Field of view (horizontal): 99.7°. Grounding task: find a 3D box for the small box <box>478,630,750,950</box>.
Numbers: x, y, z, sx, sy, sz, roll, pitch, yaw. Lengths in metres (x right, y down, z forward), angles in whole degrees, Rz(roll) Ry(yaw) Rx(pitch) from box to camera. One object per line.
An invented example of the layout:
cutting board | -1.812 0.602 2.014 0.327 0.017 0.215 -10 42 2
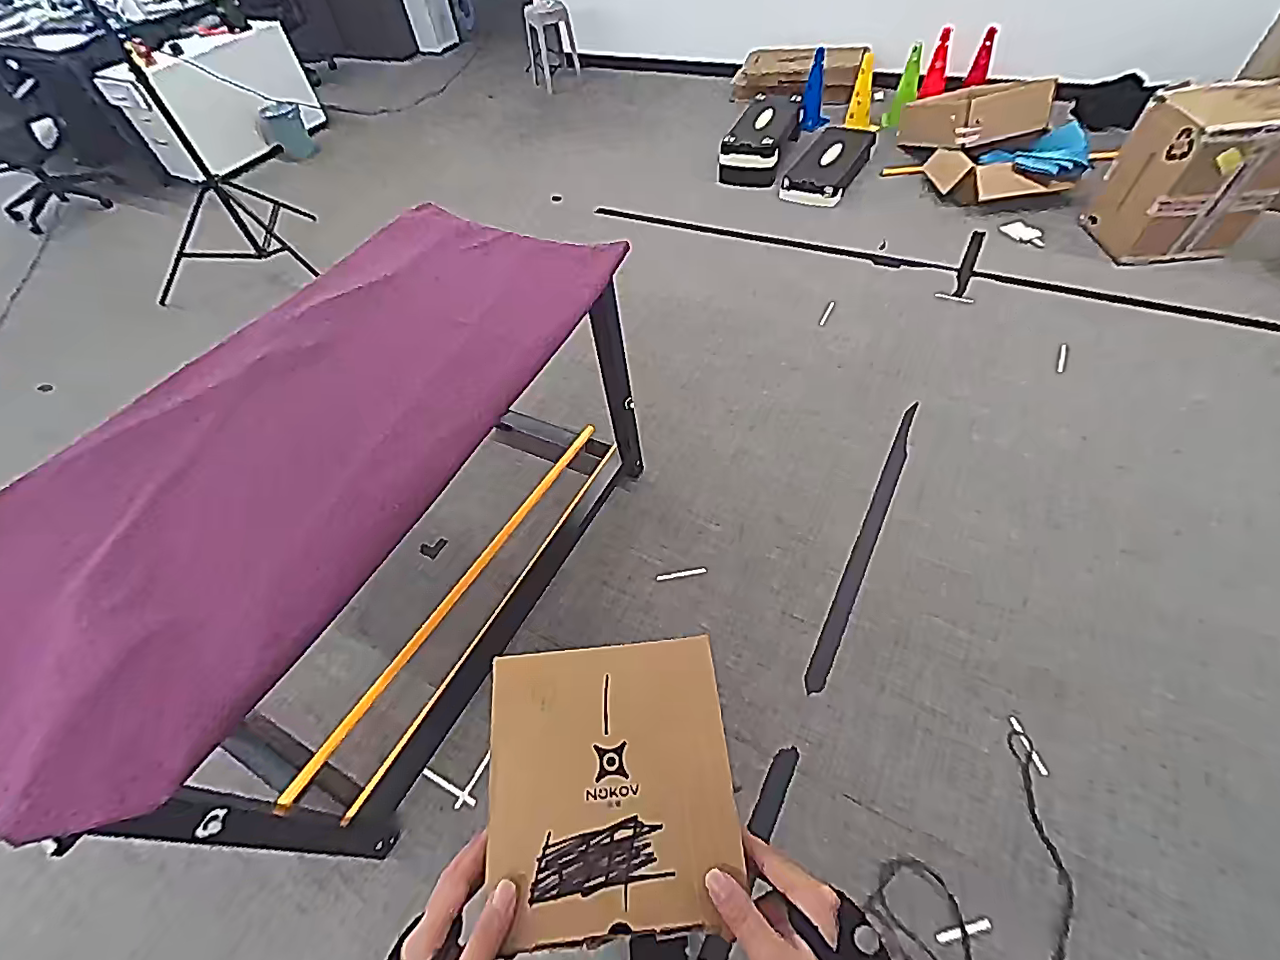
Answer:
small box | -0.020 0.233 0.428 0.168 0.176 0.179 -4 59 -3
